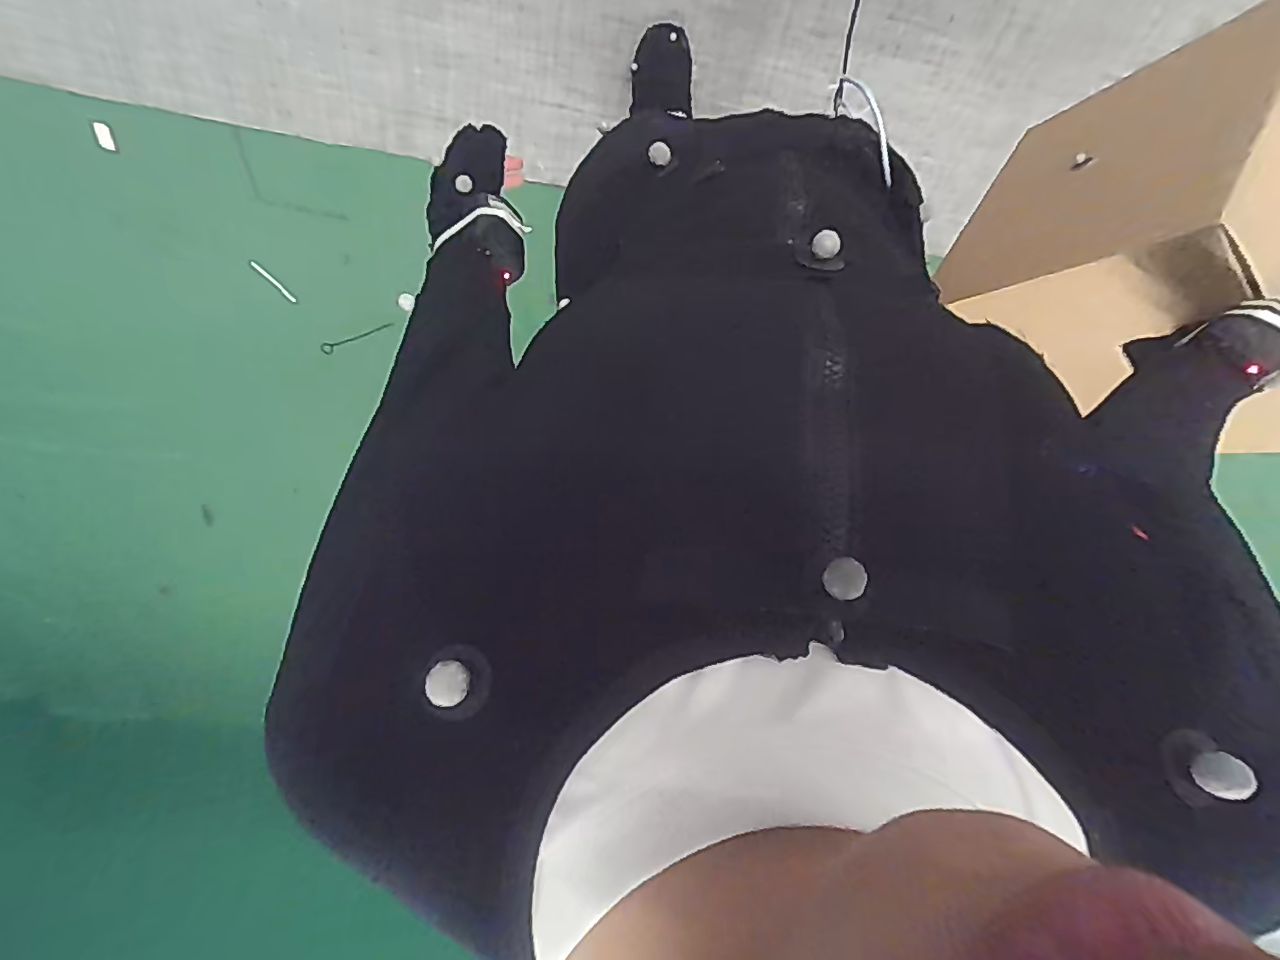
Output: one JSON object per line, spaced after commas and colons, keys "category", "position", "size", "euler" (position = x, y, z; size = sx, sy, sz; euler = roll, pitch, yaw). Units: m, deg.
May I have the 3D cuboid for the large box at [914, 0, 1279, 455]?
{"category": "large box", "position": [0.646, -0.282, 0.700], "size": [0.320, 0.408, 0.320], "euler": [40, 166, -20]}
